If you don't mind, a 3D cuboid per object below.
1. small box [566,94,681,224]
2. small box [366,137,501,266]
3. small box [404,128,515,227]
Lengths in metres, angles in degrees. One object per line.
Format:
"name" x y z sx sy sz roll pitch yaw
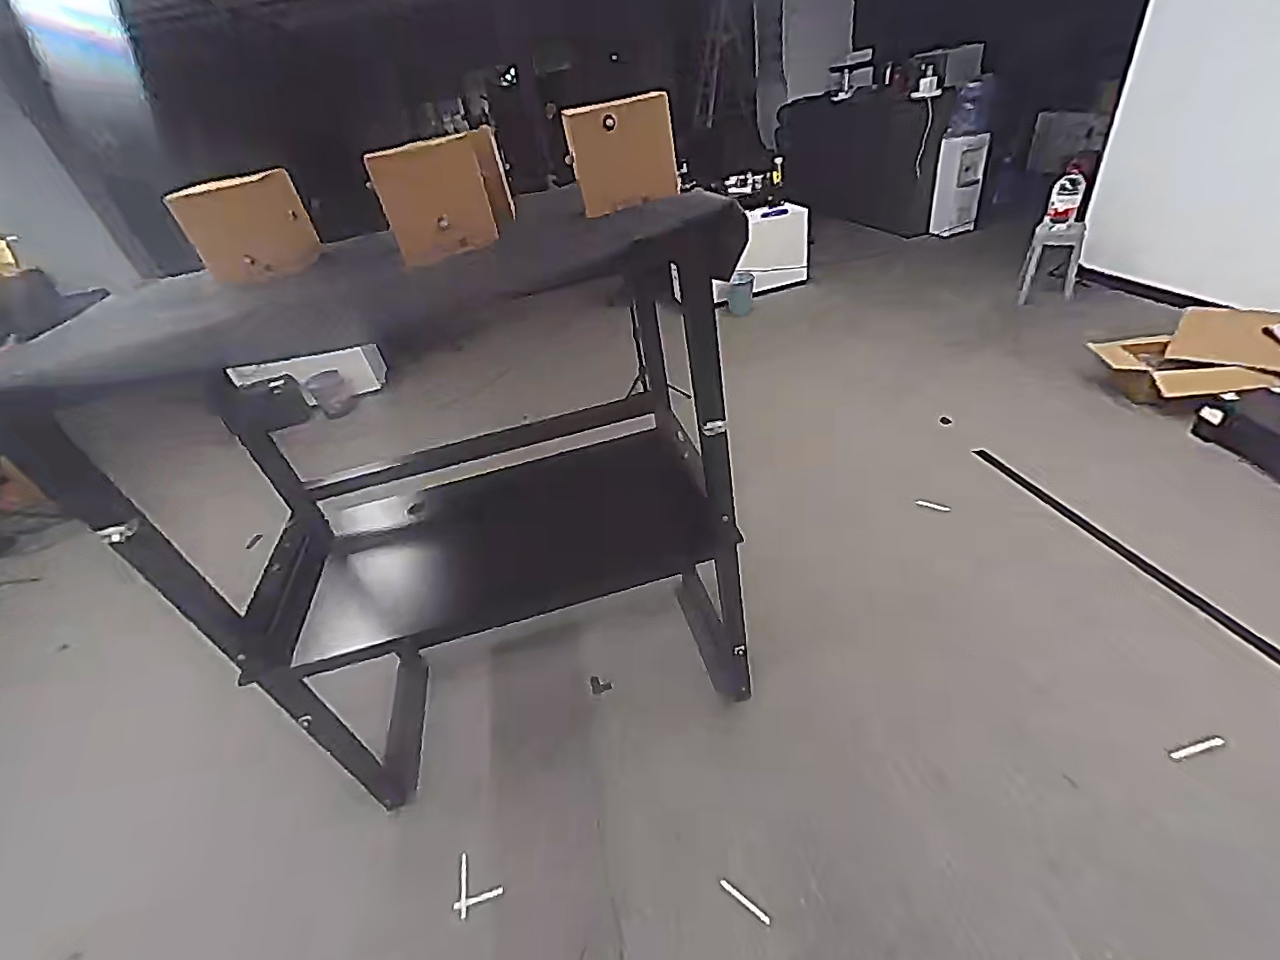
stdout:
"small box" -0.031 -0.567 0.961 0.168 0.176 0.179 -14 35 -1
"small box" -0.359 -0.491 0.953 0.168 0.176 0.179 -21 37 -11
"small box" -0.366 -0.621 1.130 0.179 0.176 0.168 -14 35 -4
